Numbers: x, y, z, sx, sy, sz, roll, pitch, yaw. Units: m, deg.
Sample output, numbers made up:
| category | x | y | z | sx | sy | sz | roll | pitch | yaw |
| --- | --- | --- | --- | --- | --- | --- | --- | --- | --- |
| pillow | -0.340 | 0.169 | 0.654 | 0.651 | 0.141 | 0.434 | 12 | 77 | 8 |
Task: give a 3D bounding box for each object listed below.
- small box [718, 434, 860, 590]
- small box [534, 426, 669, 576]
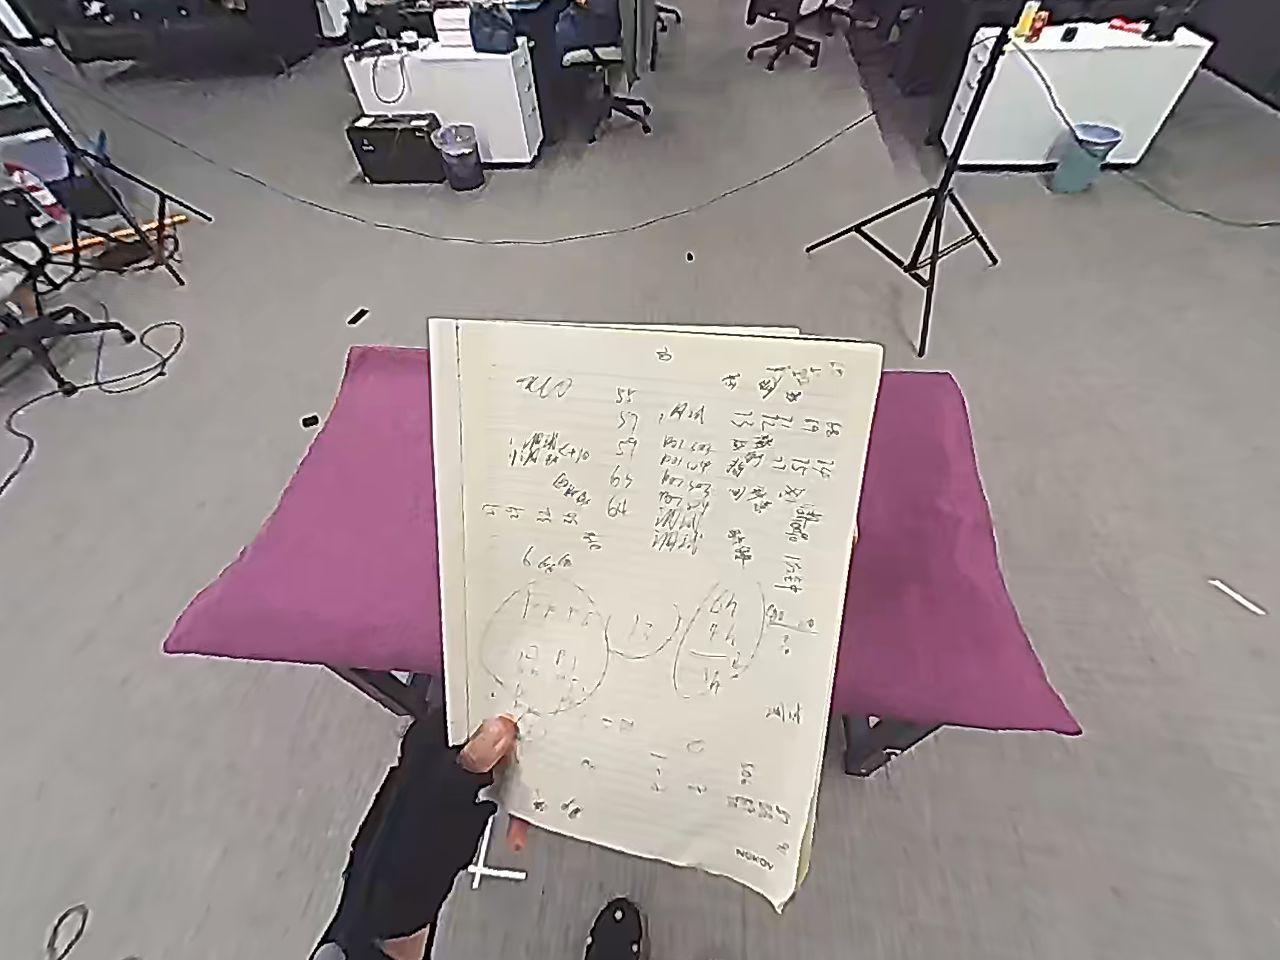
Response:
| category | x | y | z | sx | sy | sz | roll | pitch | yaw |
| --- | --- | --- | --- | --- | --- | --- | --- | --- | --- |
| small box | 0.215 | 0.052 | 0.817 | 0.179 | 0.176 | 0.168 | 4 | 50 | 9 |
| small box | -0.049 | 0.037 | 0.843 | 0.179 | 0.176 | 0.168 | 3 | 51 | 5 |
